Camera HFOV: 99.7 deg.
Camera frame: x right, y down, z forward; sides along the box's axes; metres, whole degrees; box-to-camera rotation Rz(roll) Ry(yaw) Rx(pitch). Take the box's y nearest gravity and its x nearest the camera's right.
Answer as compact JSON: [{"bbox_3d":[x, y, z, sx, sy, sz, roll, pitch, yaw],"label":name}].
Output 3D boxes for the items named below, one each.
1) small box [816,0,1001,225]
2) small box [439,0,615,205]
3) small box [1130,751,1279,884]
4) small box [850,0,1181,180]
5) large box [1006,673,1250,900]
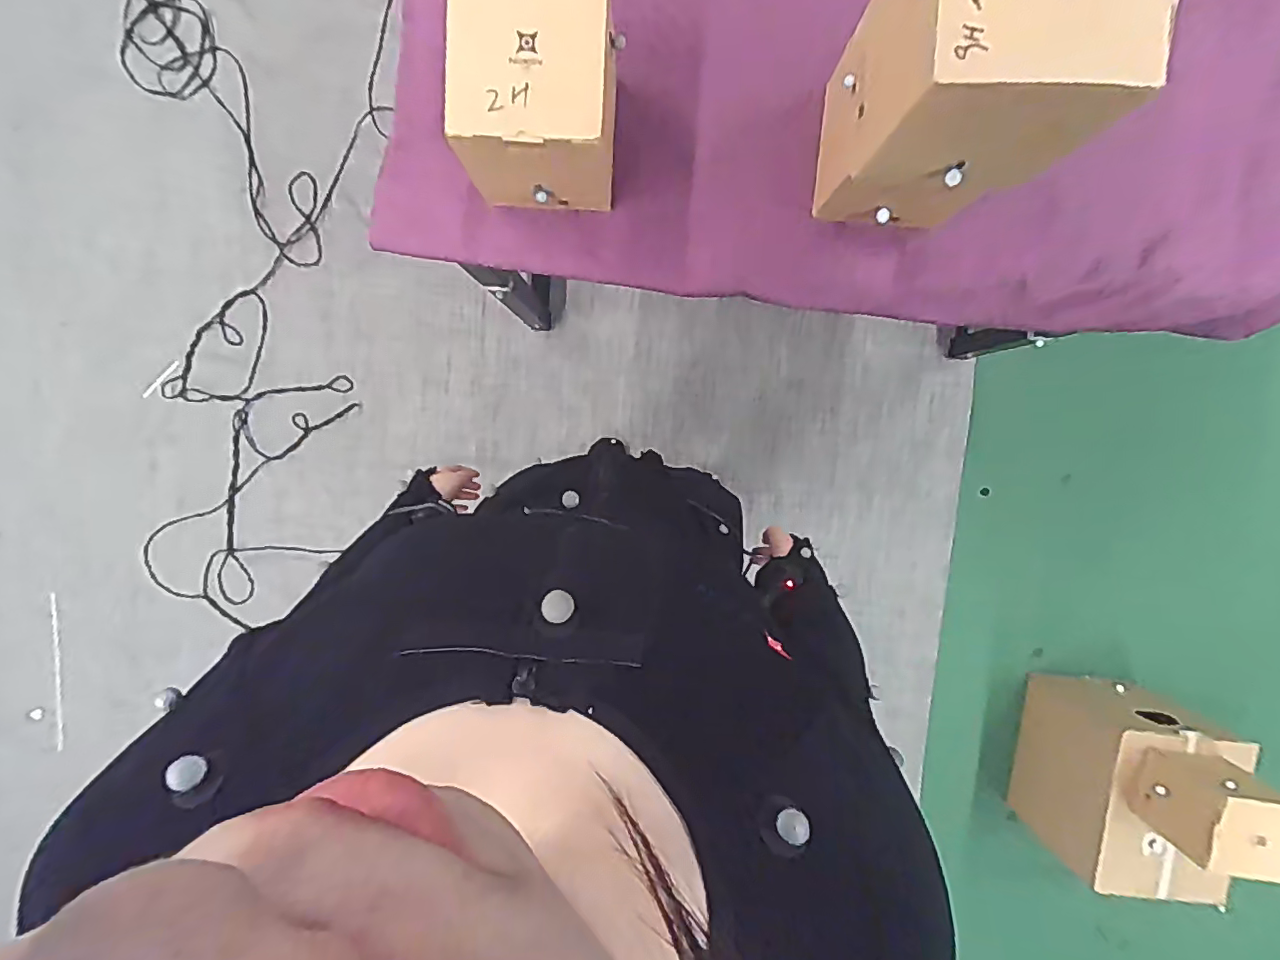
[{"bbox_3d":[0.316,-0.423,0.626,0.168,0.176,0.179,6,96,0],"label":"small box"},{"bbox_3d":[-0.118,-0.447,0.624,0.168,0.176,0.179,3,94,1],"label":"small box"},{"bbox_3d":[1.211,0.703,1.143,0.179,0.176,0.168,8,96,1],"label":"small box"},{"bbox_3d":[0.305,-0.381,0.465,0.179,0.176,0.168,2,96,0],"label":"small box"},{"bbox_3d":[1.218,0.760,1.393,0.320,0.320,0.408,6,96,1],"label":"large box"}]
